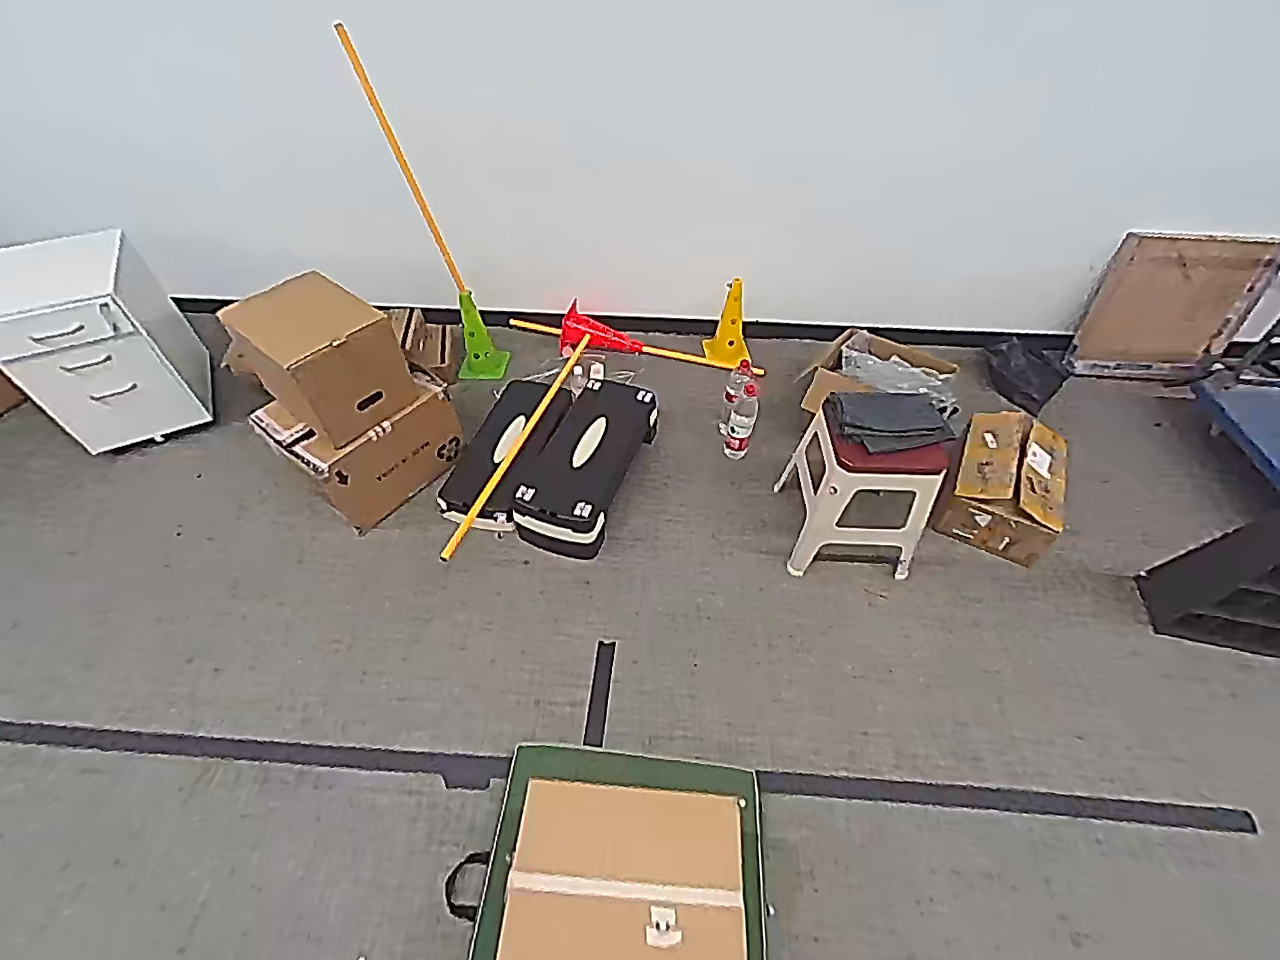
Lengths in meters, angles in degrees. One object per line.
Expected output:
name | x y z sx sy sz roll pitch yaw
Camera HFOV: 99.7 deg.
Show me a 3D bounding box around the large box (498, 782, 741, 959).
large box | -0.033 0.810 1.049 0.408 0.320 0.320 4 49 1
